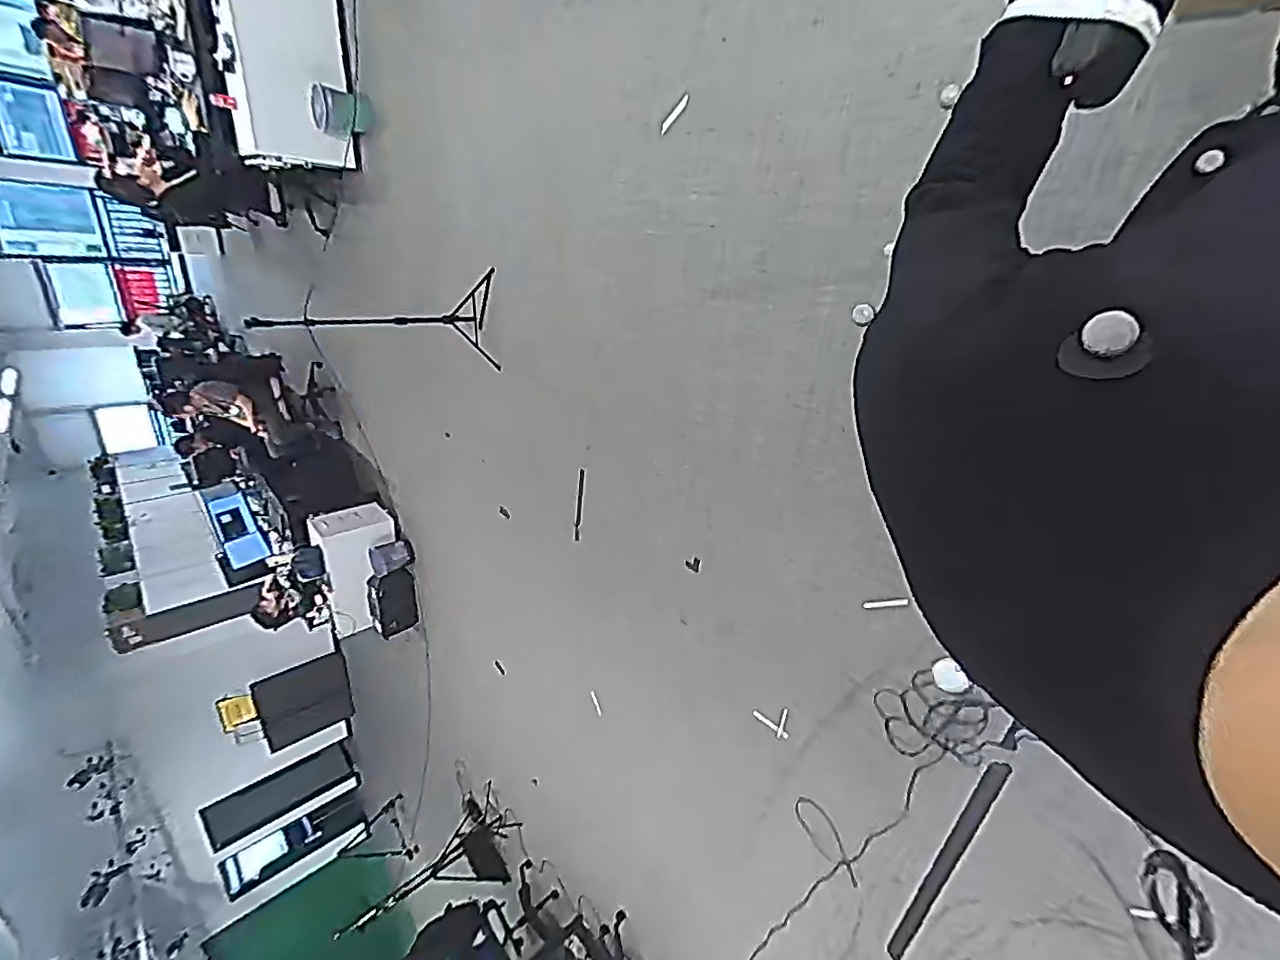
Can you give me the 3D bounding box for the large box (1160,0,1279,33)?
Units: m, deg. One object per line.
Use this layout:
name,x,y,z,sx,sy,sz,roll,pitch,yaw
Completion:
large box,0.570,-0.460,0.258,0.408,0.320,0.320,22,130,35
